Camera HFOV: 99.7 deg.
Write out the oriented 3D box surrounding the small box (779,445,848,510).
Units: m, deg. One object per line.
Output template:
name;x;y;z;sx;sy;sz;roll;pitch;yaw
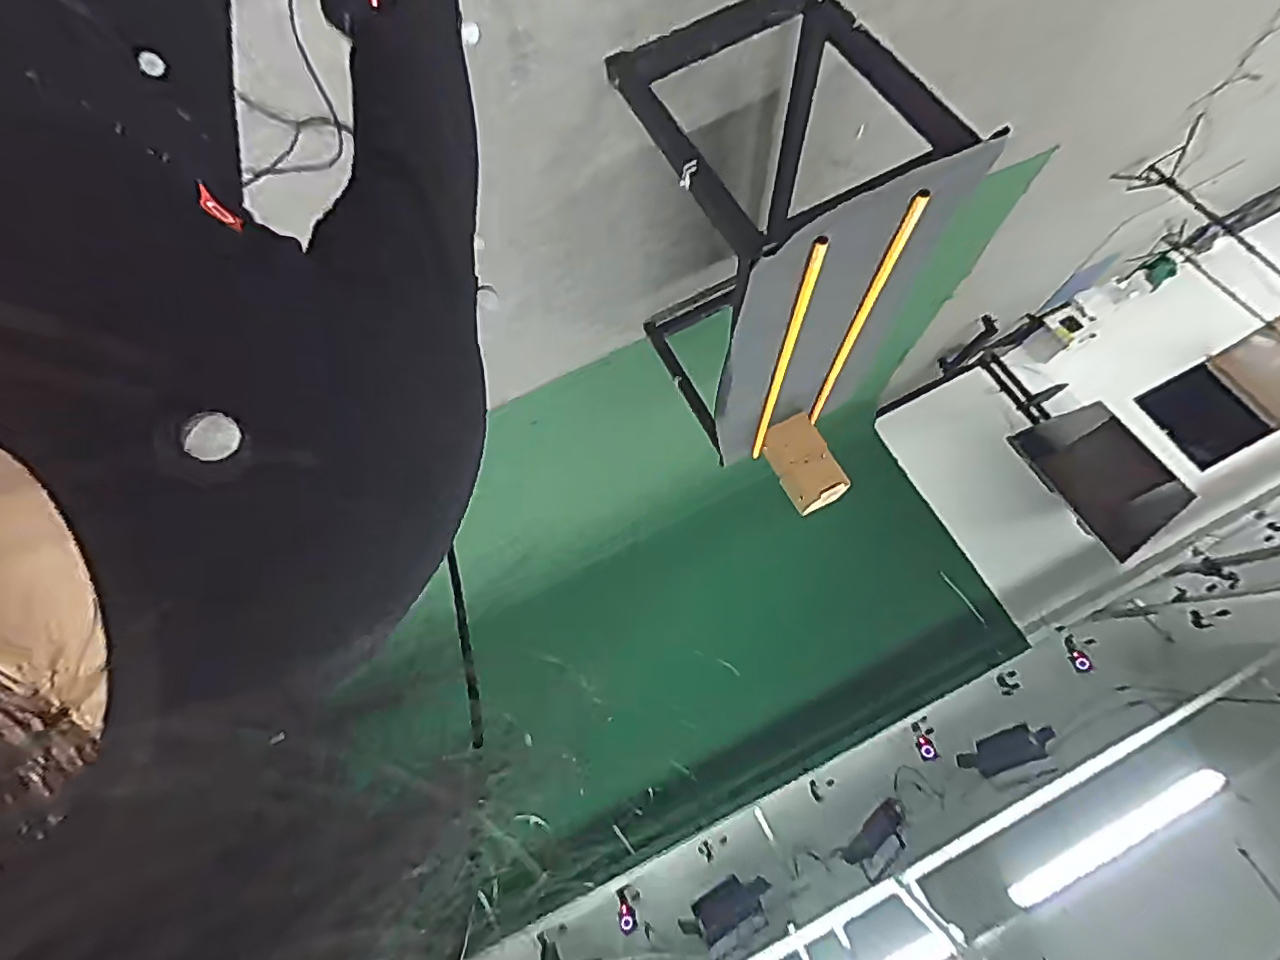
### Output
small box;0.657;-0.014;2.075;0.168;0.176;0.179;-24;161;-8
